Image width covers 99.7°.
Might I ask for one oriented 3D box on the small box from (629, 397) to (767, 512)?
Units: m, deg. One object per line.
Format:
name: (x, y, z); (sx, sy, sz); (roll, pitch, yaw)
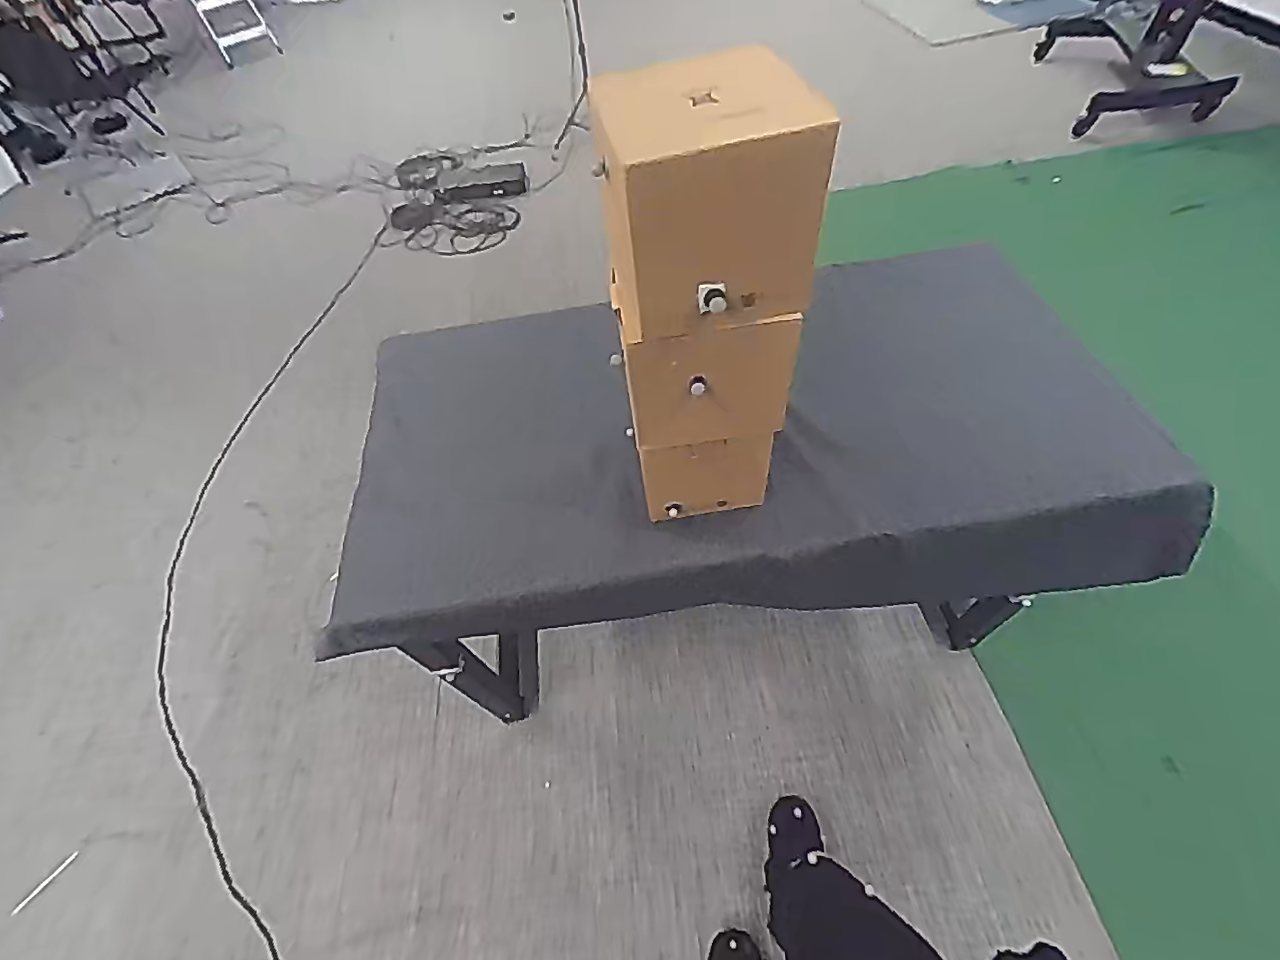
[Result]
small box: (0.077, -0.069, 0.774); (0.168, 0.176, 0.179); (-9, 53, 0)

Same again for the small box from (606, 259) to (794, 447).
small box: (0.065, -0.159, 0.642); (0.179, 0.176, 0.168); (-11, 52, -2)

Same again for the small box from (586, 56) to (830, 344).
small box: (0.054, -0.260, 0.511); (0.168, 0.176, 0.179); (-14, 55, -2)
